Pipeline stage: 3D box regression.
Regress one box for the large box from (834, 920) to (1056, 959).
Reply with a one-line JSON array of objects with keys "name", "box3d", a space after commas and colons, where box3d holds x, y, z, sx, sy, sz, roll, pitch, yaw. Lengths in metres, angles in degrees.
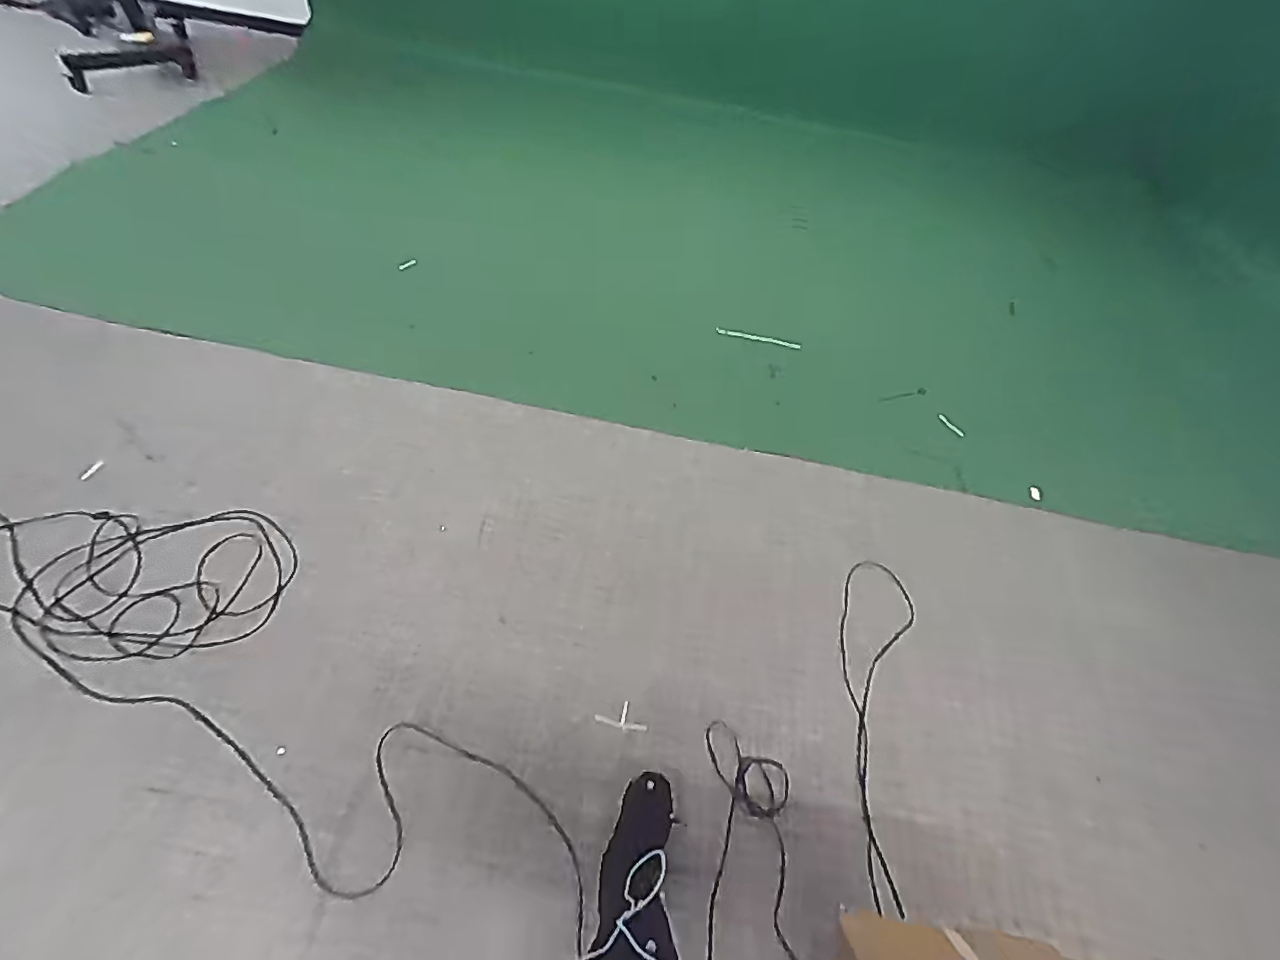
[{"name": "large box", "box3d": [0.419, 0.779, 0.573, 0.320, 0.408, 0.320, 7, 81, 3]}]
